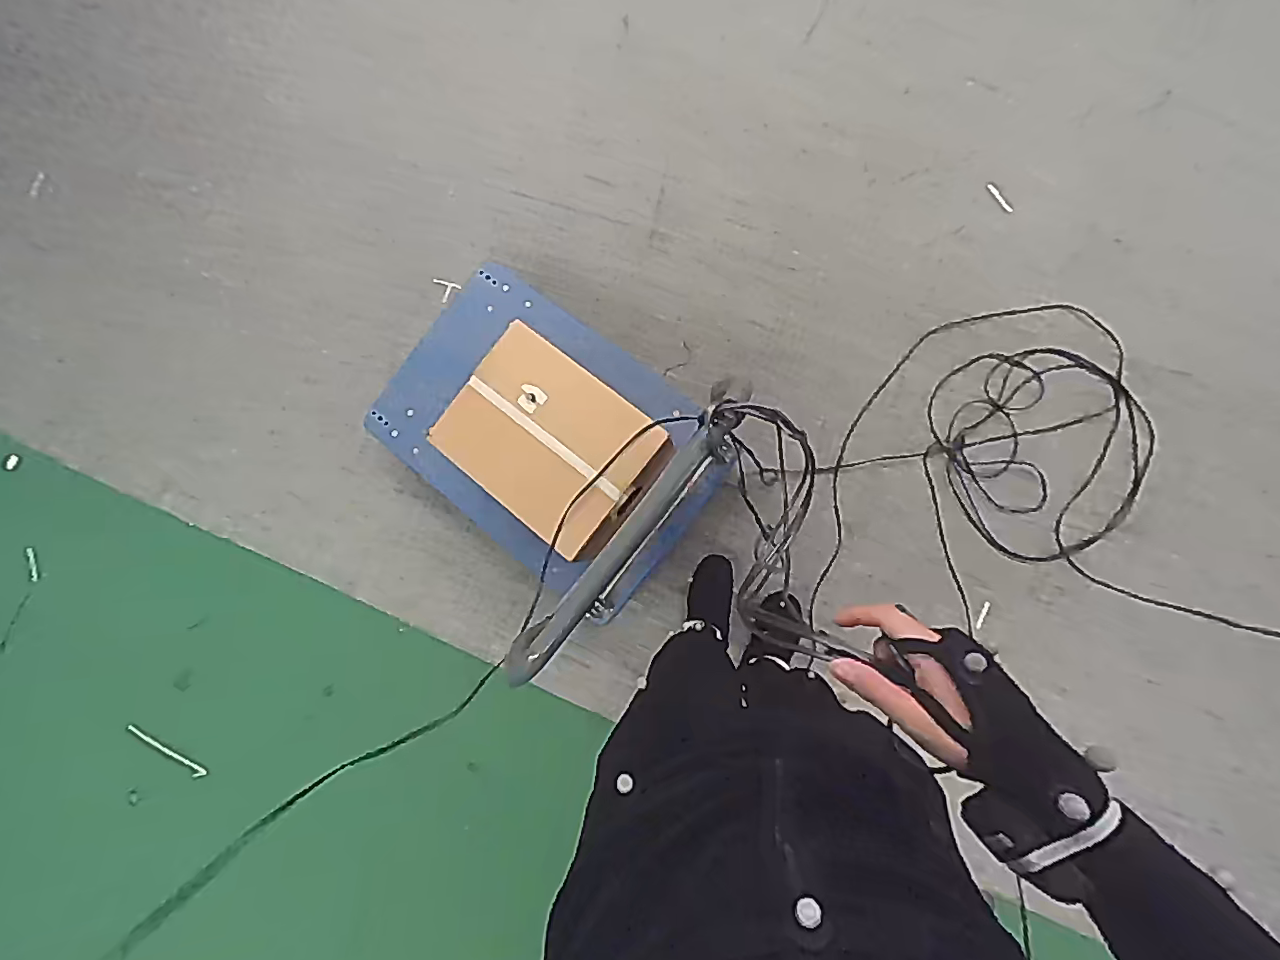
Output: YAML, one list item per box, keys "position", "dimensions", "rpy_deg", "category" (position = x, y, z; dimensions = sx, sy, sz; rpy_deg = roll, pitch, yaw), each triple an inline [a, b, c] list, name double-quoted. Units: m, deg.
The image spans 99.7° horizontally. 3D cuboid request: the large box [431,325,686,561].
- position: [-0.155, -0.063, 1.199]
  dimensions: [0.408, 0.320, 0.320]
  rpy_deg: [38, 90, 12]
  category: "large box"
